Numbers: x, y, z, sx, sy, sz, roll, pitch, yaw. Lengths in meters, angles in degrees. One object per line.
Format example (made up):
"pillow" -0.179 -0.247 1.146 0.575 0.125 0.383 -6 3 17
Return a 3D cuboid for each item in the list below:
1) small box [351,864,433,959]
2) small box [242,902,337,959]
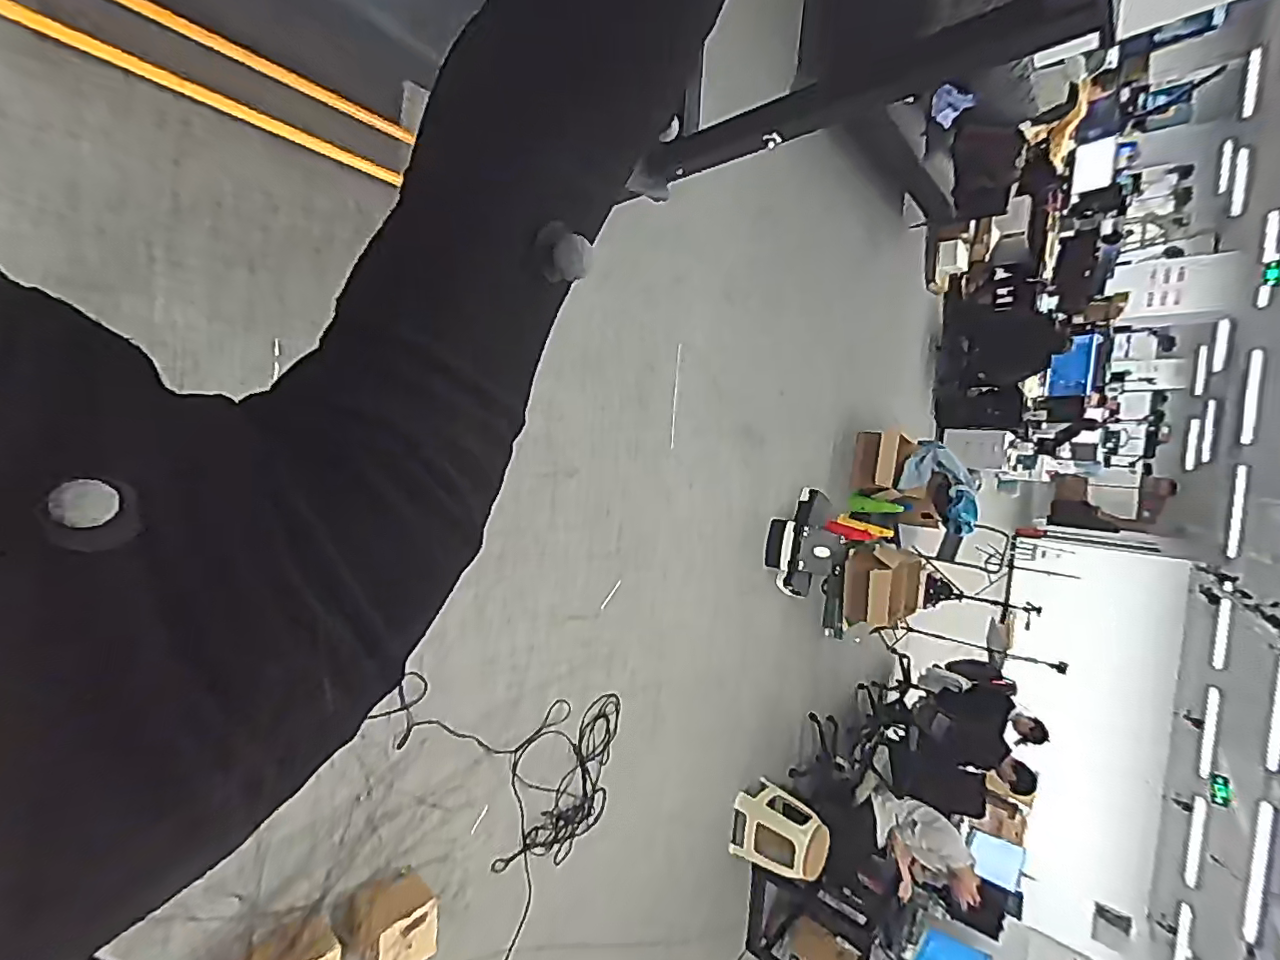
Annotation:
"small box" -0.717 1.258 1.559 0.168 0.176 0.179 -2 98 -49
"small box" -0.883 1.236 1.366 0.168 0.176 0.179 -7 100 -49
